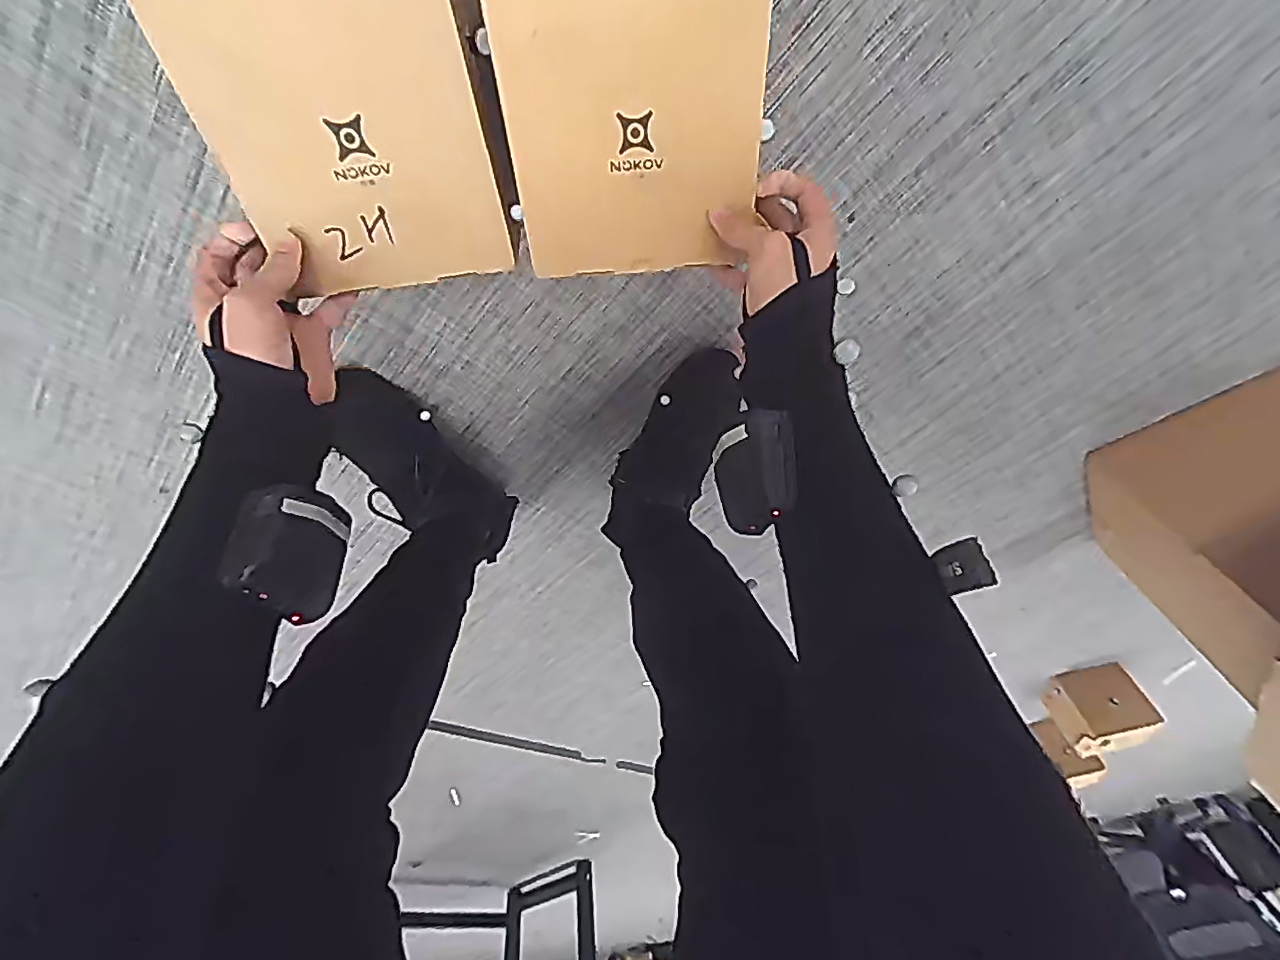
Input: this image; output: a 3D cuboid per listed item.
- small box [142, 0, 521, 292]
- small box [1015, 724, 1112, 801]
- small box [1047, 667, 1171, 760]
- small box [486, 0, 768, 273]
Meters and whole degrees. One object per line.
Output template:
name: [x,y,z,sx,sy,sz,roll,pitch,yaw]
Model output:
small box: [-0.190,-0.267,0.402,0.168,0.176,0.179,-8,135,-1]
small box: [1.375,0.917,1.767,0.179,0.176,0.168,-21,132,10]
small box: [1.281,0.644,1.495,0.179,0.176,0.168,-16,133,6]
small box: [-0.007,-0.282,0.412,0.168,0.176,0.179,-4,135,1]
